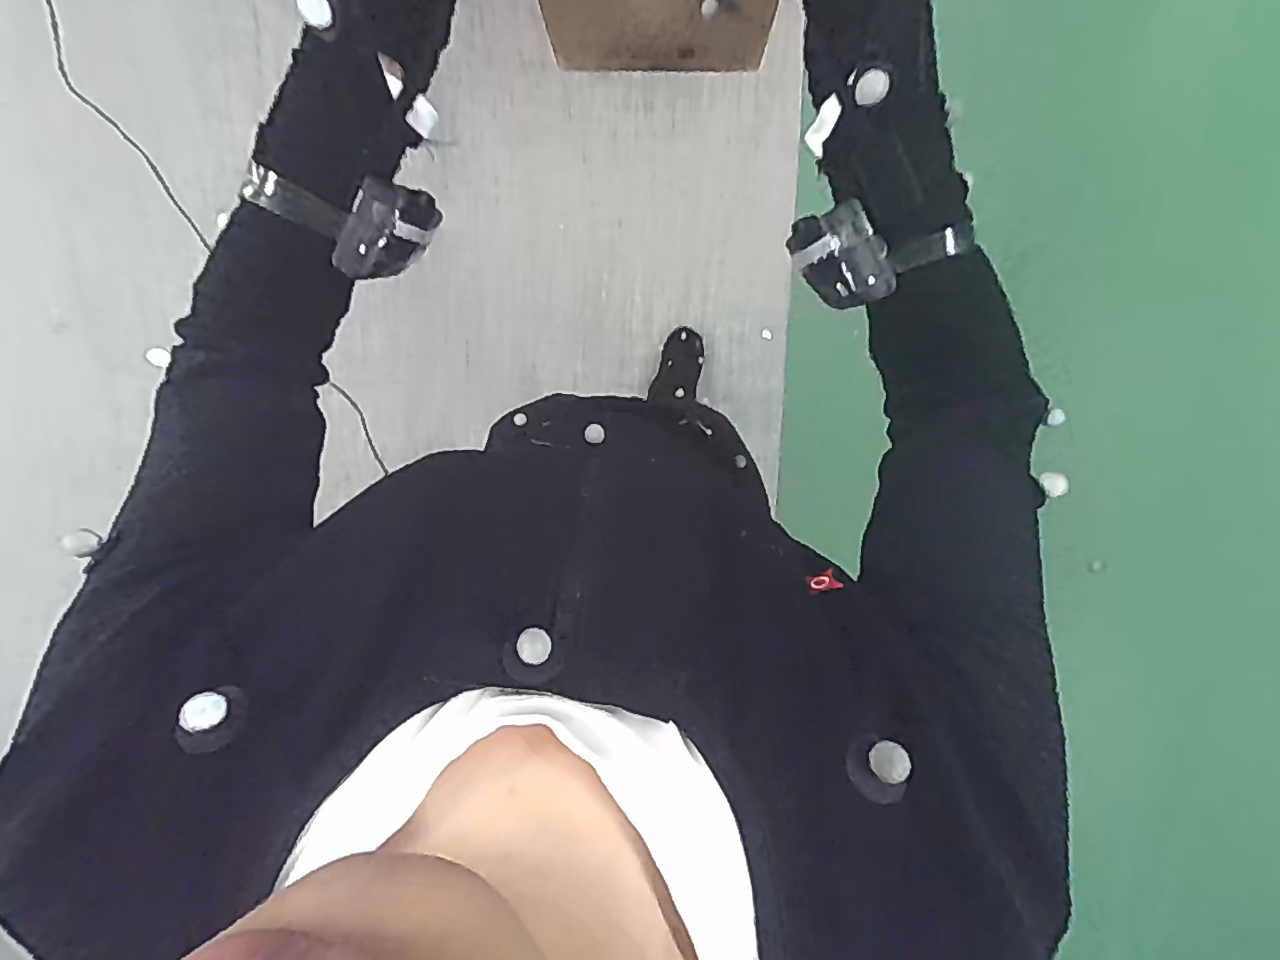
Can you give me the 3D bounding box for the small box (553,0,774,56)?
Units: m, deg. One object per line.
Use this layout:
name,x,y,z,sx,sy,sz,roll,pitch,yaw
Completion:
small box,0.017,-0.420,0.355,0.168,0.176,0.179,1,97,2
